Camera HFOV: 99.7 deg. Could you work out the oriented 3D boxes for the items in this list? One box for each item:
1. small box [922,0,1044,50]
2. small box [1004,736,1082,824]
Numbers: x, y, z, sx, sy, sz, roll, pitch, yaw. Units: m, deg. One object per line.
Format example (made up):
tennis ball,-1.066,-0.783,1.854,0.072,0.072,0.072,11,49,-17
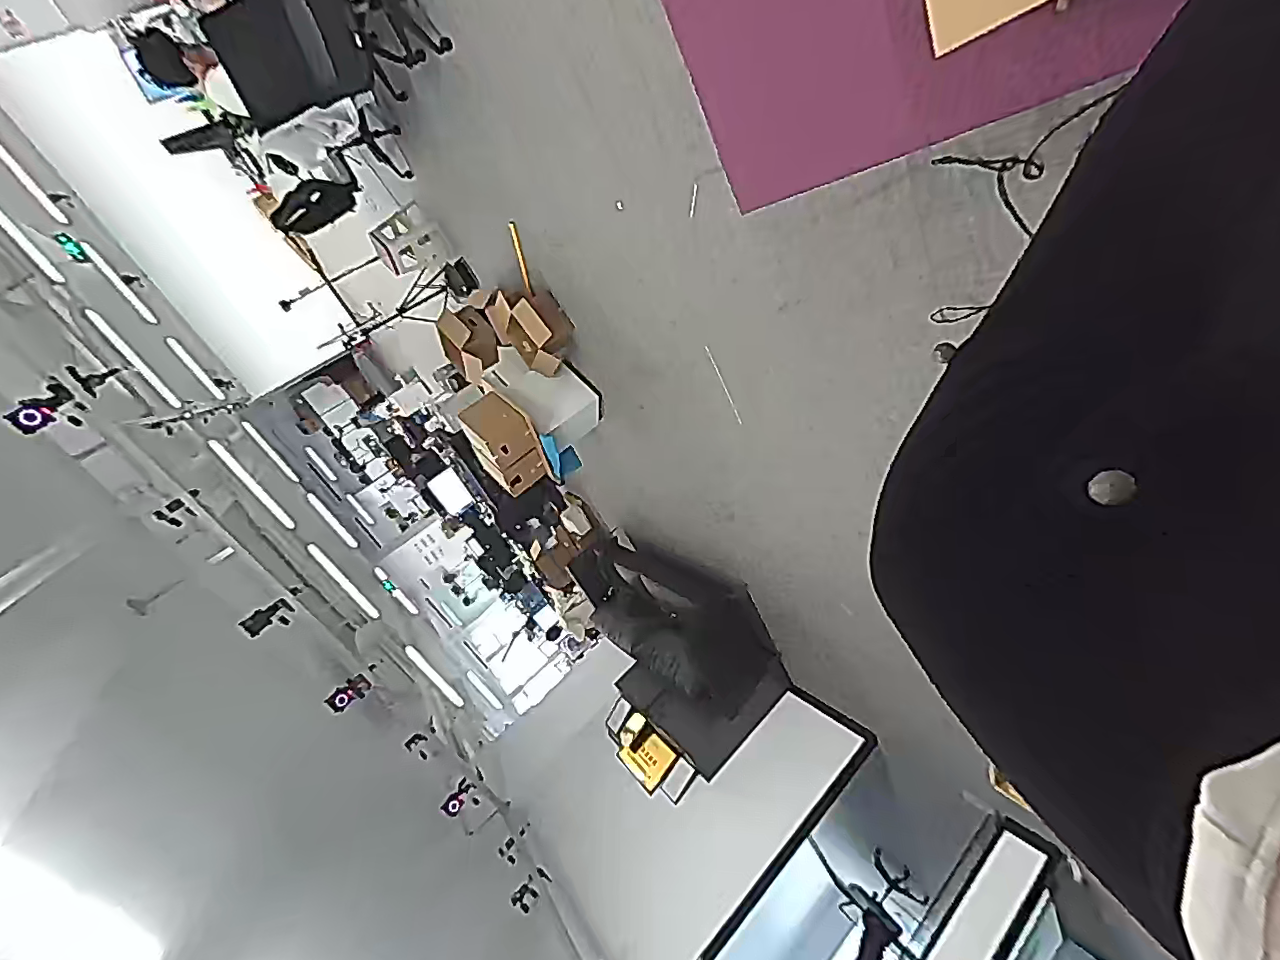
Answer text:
small box,0.364,-0.534,0.473,0.168,0.176,0.179,18,141,57
small box,1.396,1.037,1.876,0.168,0.176,0.179,26,147,47
